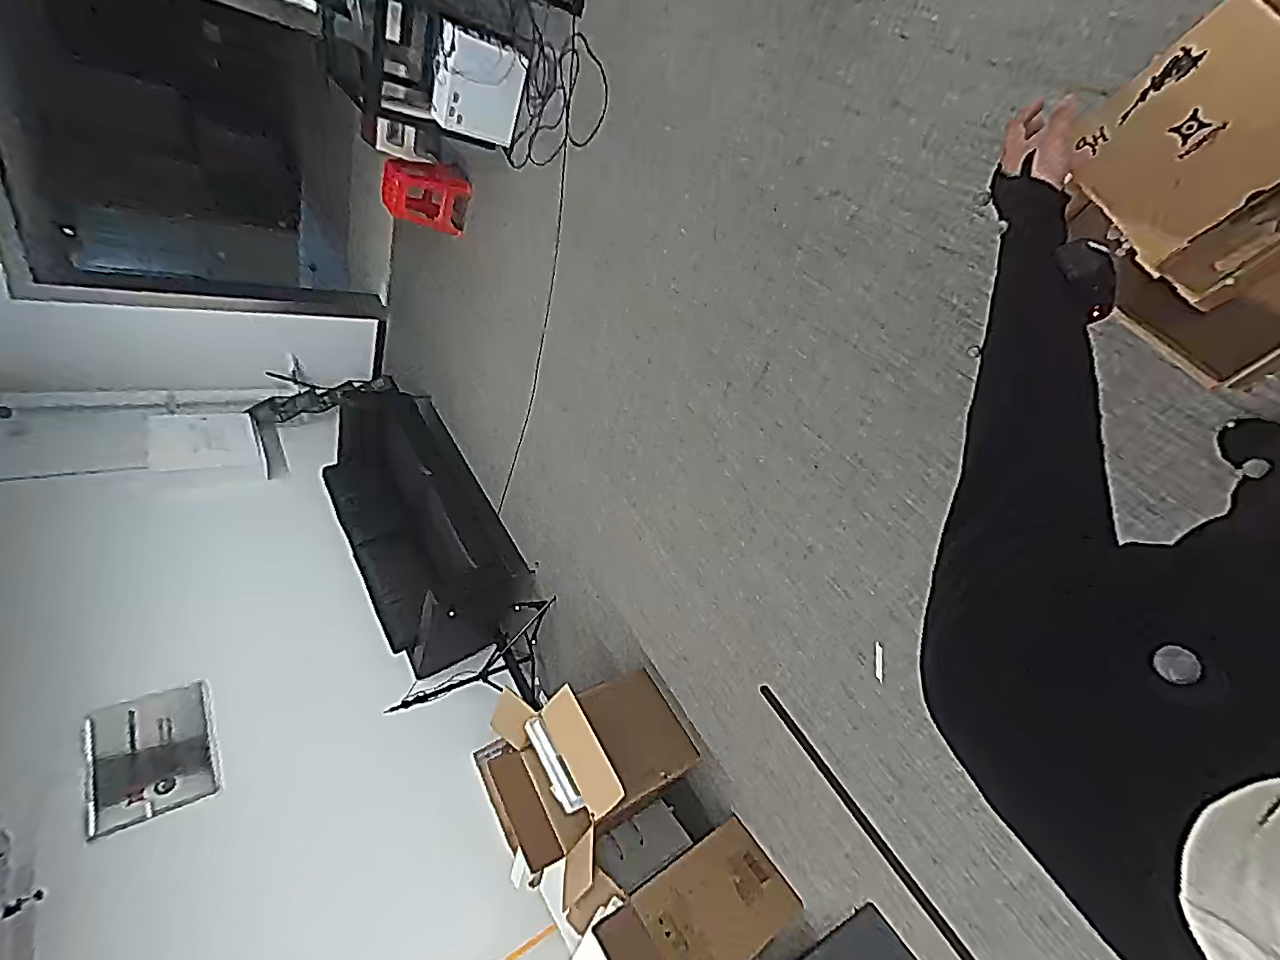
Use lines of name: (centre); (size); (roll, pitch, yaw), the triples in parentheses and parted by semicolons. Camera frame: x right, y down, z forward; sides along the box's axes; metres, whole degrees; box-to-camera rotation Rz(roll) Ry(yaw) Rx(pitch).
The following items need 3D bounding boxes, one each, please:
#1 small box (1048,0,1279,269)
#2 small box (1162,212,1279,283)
small box: (0.588, -0.343, 0.567); (0.168, 0.176, 0.179); (-42, 65, 47)
small box: (0.713, -0.366, 0.672); (0.168, 0.176, 0.179); (-47, 60, 45)
